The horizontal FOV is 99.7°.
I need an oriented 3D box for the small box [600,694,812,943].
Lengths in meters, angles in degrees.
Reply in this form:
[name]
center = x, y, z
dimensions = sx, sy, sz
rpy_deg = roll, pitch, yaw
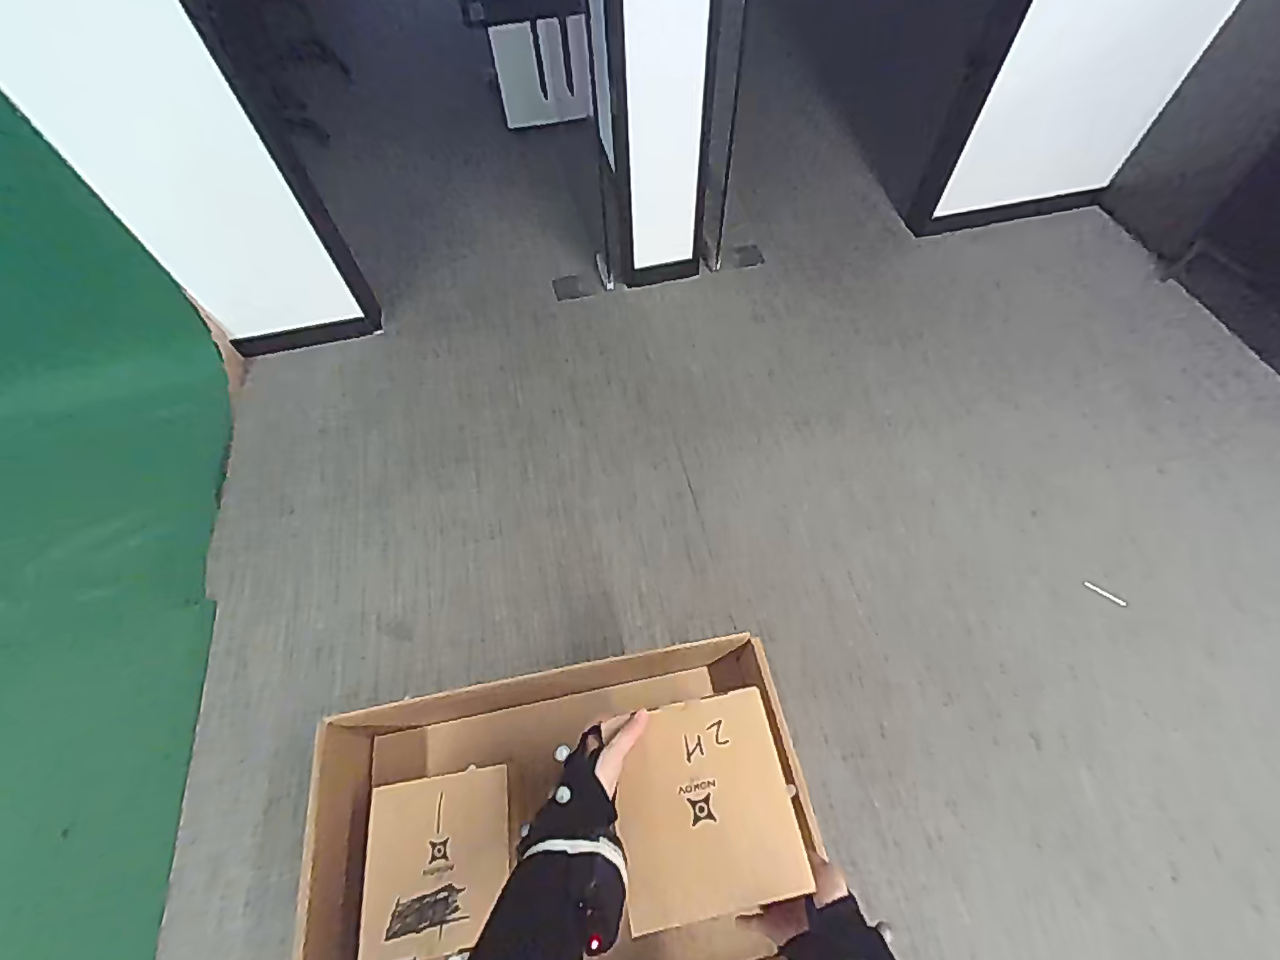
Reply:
[small box]
center = 0.059, 0.343, 0.569
dimensions = 0.168, 0.176, 0.179
rpy_deg = -10, 59, -4
